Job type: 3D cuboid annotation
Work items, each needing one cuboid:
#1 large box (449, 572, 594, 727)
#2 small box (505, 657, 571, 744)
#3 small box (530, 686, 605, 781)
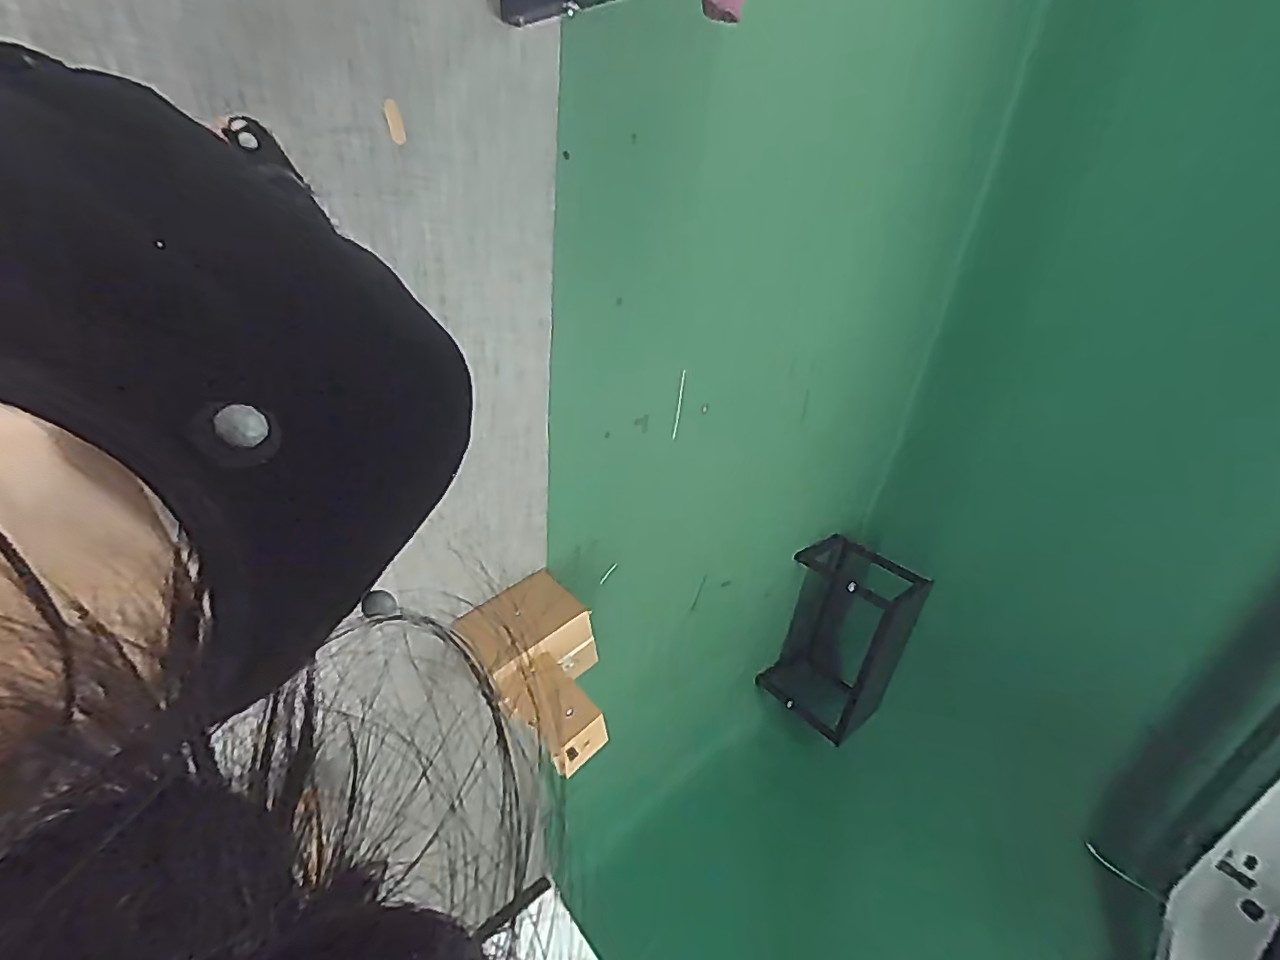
[{"bbox_3d":[-0.443,0.628,2.056,0.408,0.320,0.320,-31,133,-31],"label":"large box"},{"bbox_3d":[-0.346,0.745,1.845,0.179,0.176,0.168,-26,130,-33],"label":"small box"},{"bbox_3d":[-0.237,0.808,1.738,0.179,0.176,0.168,-31,132,-32],"label":"small box"}]
